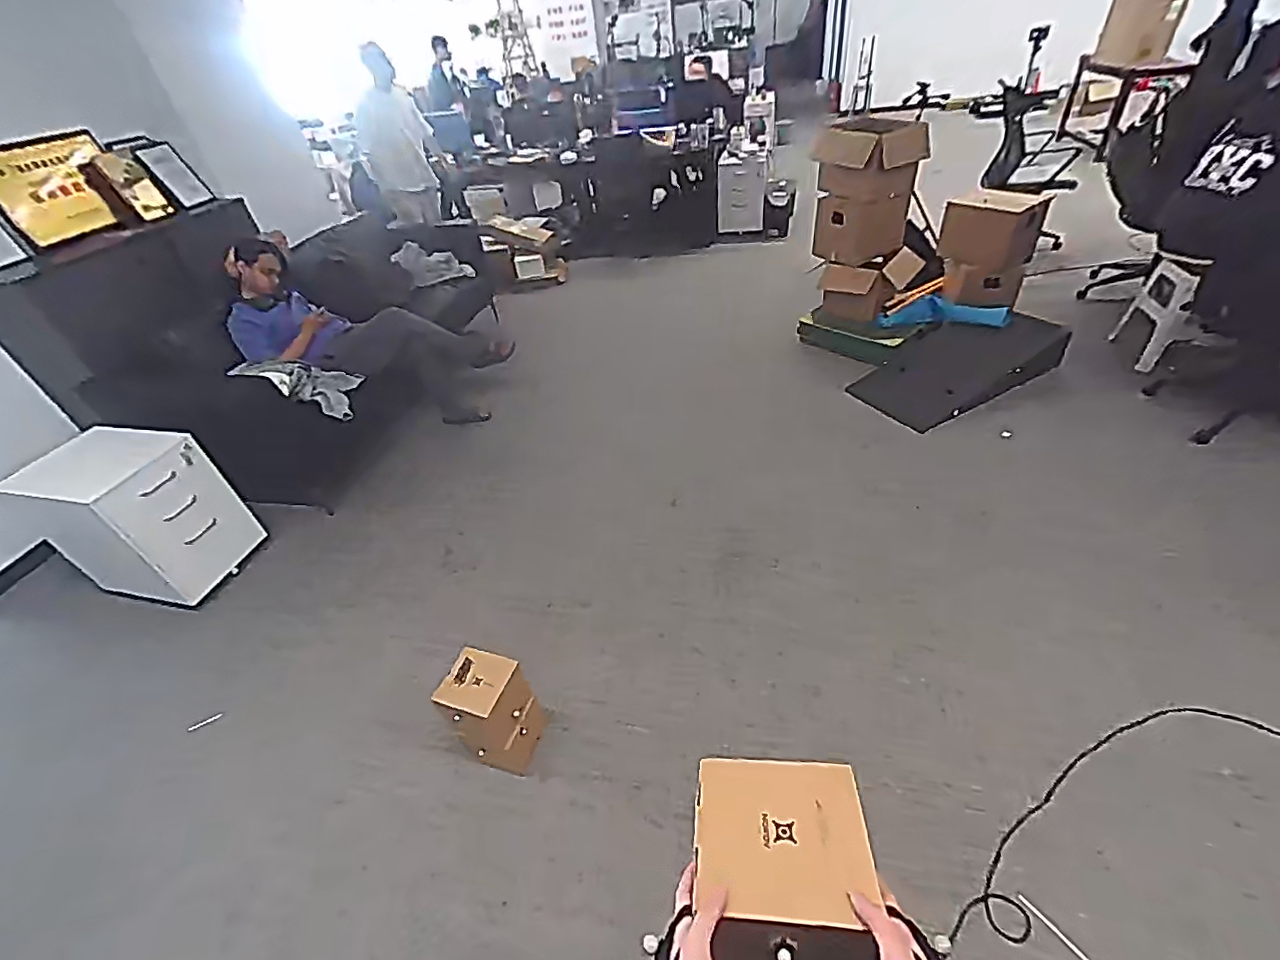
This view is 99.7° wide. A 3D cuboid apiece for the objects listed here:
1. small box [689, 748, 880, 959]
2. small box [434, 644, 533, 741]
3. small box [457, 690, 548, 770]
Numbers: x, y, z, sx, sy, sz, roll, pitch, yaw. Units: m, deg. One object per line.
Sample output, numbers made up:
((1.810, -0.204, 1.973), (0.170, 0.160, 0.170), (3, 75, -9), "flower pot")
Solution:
((0.150, 0.429, 0.600), (0.179, 0.176, 0.168), (-1, 25, 9), "small box")
((-0.420, 0.582, 1.475), (0.179, 0.176, 0.168), (9, 42, 19), "small box")
((-0.393, 0.712, 1.574), (0.179, 0.176, 0.168), (7, 41, 19), "small box")
